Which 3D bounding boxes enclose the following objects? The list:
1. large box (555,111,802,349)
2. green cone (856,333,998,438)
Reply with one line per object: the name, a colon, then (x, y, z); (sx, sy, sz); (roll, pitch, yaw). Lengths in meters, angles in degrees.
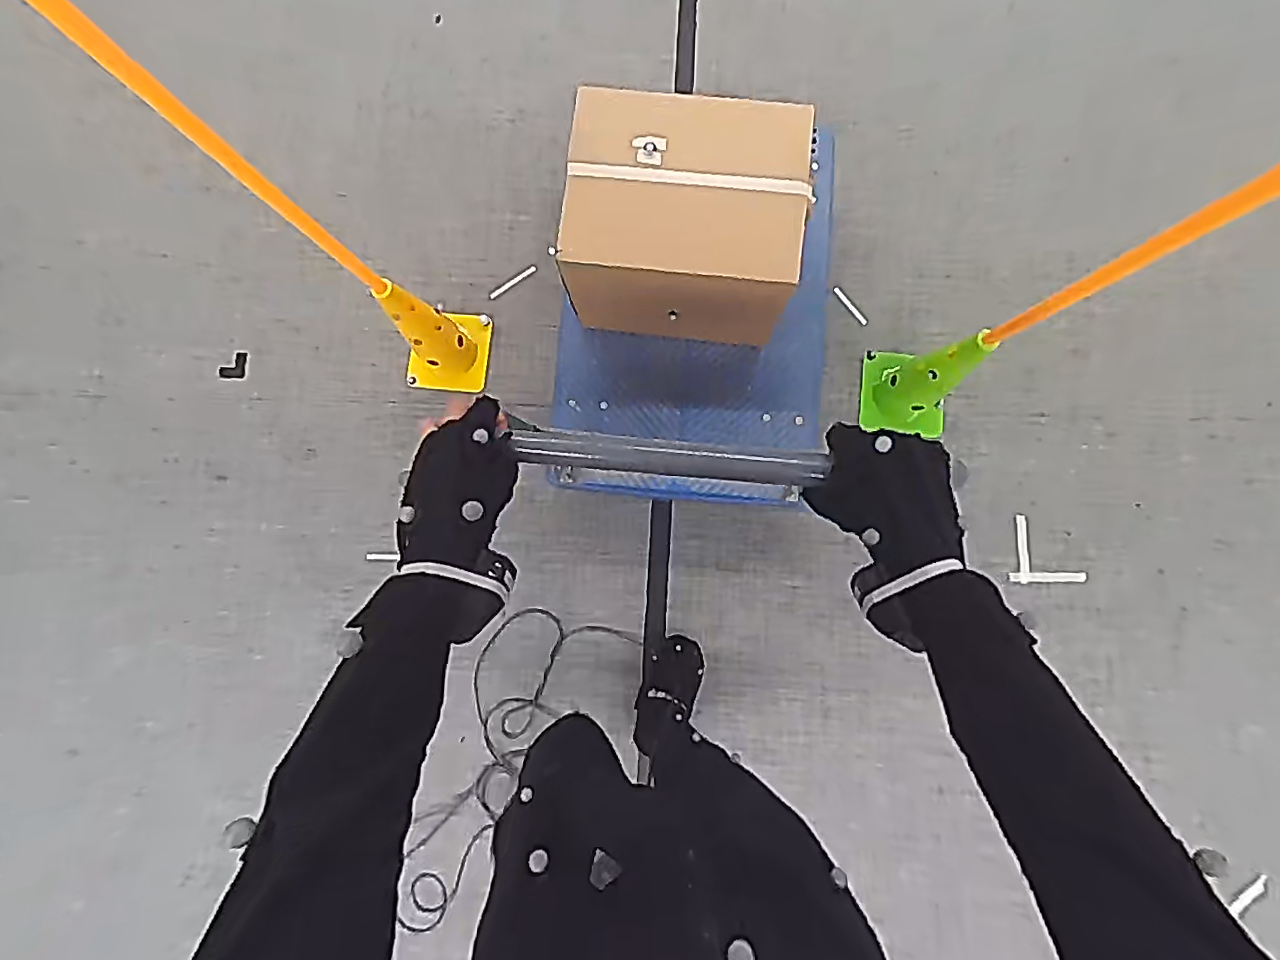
large box: (0.075, -0.465, 1.068); (0.408, 0.320, 0.320); (6, 85, 4)
green cone: (0.632, -0.226, 1.162); (0.202, 0.368, 0.200); (6, 84, 2)
